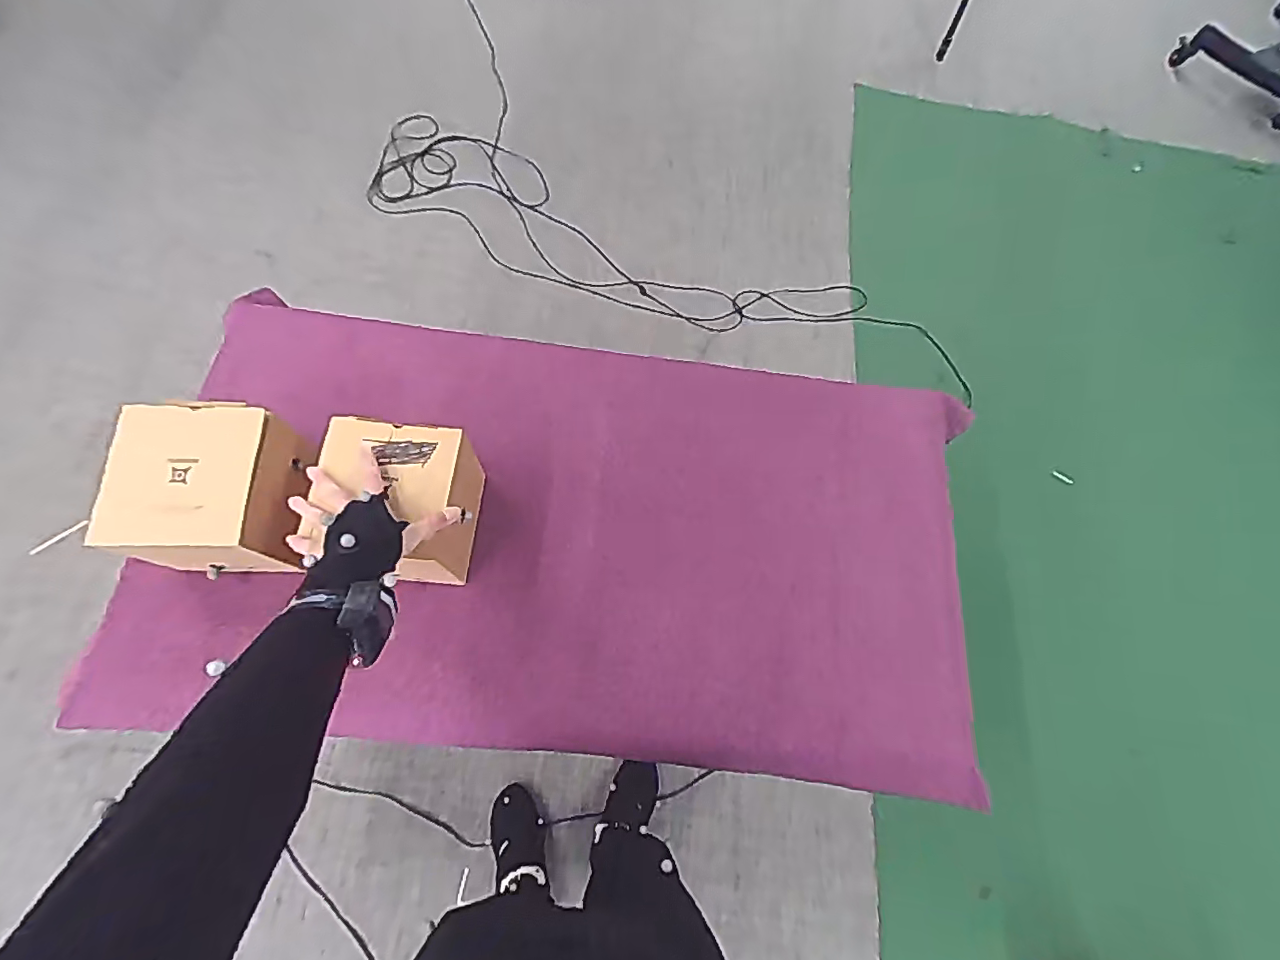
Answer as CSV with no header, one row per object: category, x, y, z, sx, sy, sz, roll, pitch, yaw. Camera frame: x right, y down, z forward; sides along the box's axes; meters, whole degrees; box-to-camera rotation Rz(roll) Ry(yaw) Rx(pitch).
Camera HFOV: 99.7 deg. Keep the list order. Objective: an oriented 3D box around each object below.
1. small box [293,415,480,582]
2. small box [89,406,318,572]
small box,-0.324,0.033,0.736,0.168,0.176,0.179,6,70,-3
small box,-0.551,0.019,0.723,0.168,0.176,0.179,1,71,-4
